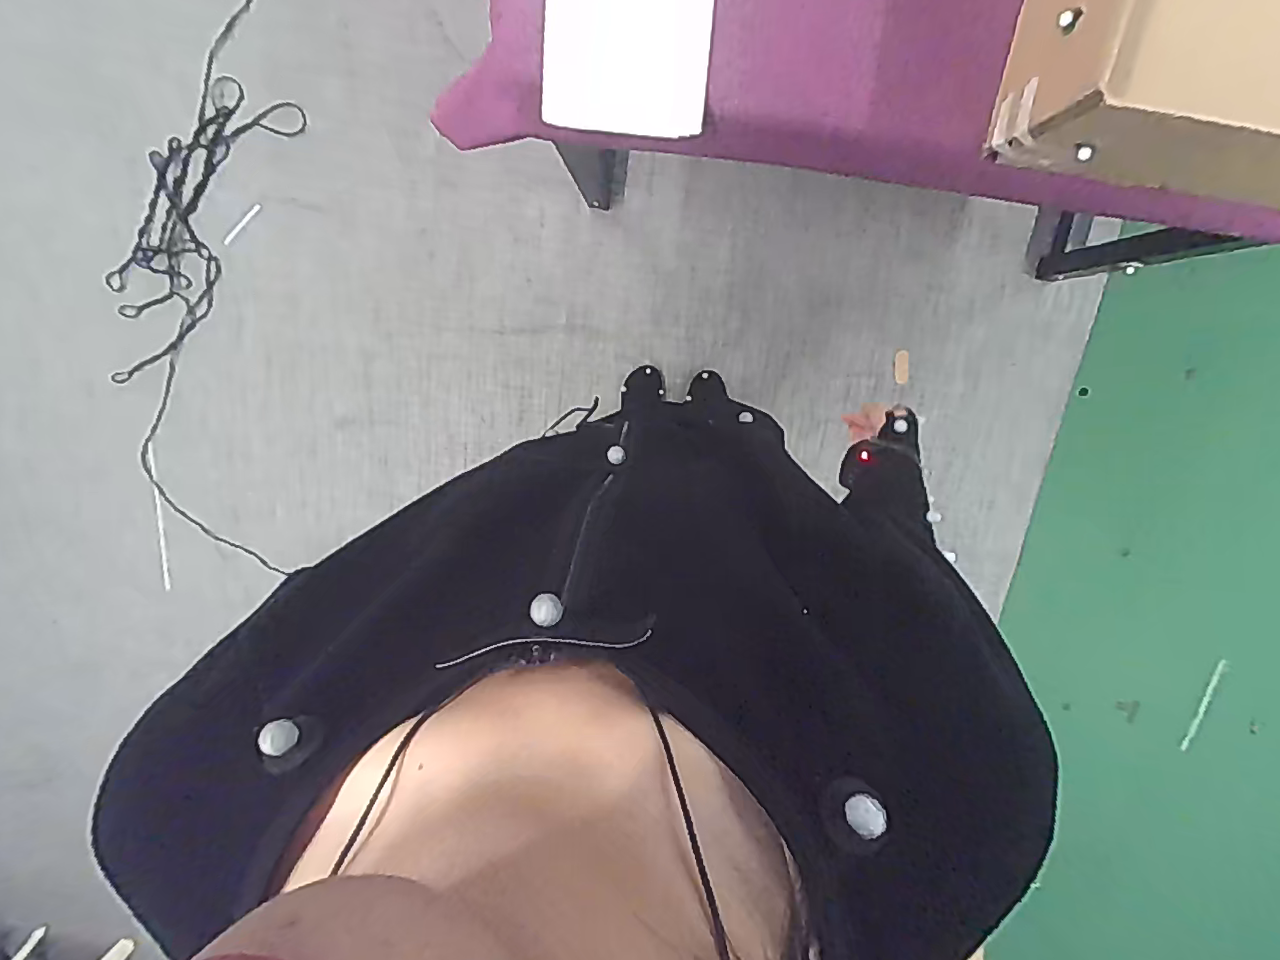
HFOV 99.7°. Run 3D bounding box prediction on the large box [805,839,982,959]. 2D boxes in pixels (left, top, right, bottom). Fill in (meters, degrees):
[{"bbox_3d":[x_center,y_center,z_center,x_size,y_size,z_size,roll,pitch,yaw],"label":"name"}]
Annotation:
[{"bbox_3d":[0.751,1.361,1.649,0.408,0.320,0.320,-6,104,3],"label":"large box"}]
